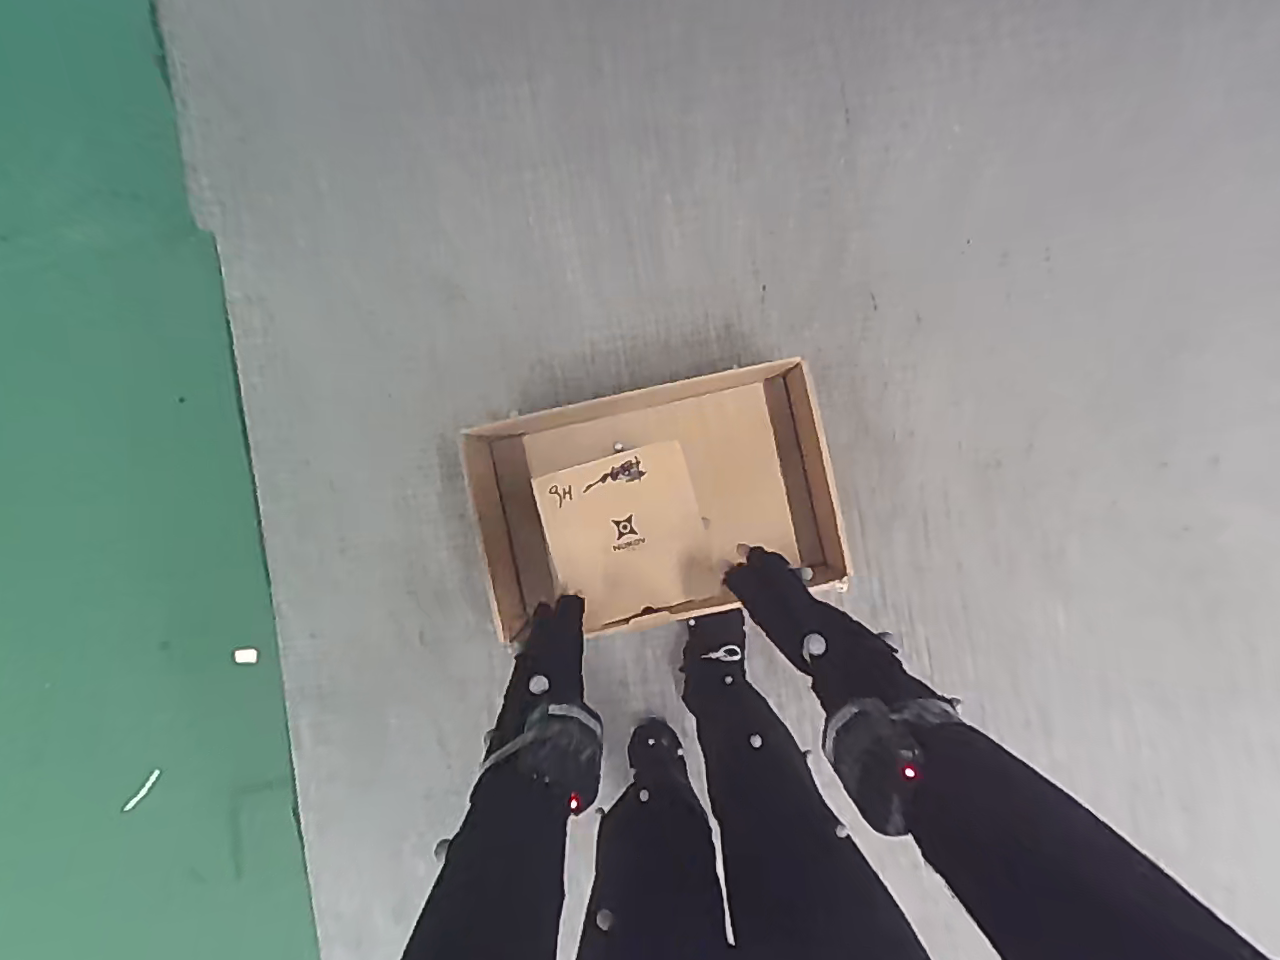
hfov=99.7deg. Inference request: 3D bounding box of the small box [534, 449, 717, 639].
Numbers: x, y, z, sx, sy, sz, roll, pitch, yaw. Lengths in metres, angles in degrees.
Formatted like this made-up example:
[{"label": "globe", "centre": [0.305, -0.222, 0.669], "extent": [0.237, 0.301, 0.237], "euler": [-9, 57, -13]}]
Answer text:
[{"label": "small box", "centre": [-0.011, 0.067, 0.654], "extent": [0.168, 0.176, 0.179], "euler": [-15, 89, 2]}]
